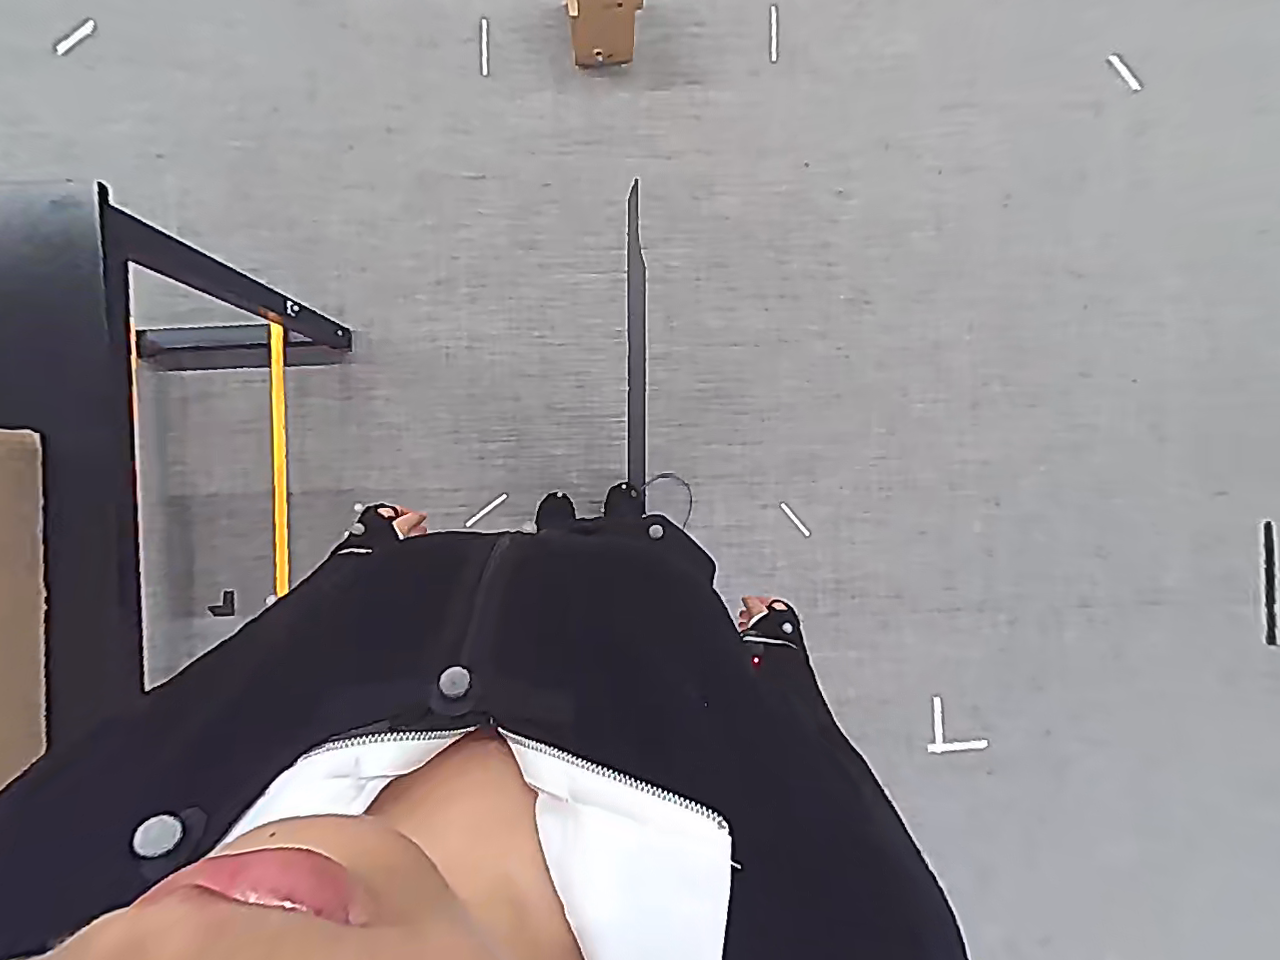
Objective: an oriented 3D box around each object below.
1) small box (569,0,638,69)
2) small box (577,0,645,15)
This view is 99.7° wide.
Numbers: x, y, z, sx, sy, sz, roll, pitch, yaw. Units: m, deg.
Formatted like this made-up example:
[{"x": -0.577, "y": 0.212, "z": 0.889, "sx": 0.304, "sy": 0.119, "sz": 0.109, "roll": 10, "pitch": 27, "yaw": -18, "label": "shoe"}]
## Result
[{"x": -0.099, "y": -1.225, "z": 1.412, "sx": 0.168, "sy": 0.176, "sz": 0.179, "roll": -7, "pitch": 92, "yaw": -1, "label": "small box"}, {"x": -0.076, "y": -1.224, "z": 1.248, "sx": 0.168, "sy": 0.176, "sz": 0.179, "roll": -8, "pitch": 91, "yaw": -1, "label": "small box"}]
